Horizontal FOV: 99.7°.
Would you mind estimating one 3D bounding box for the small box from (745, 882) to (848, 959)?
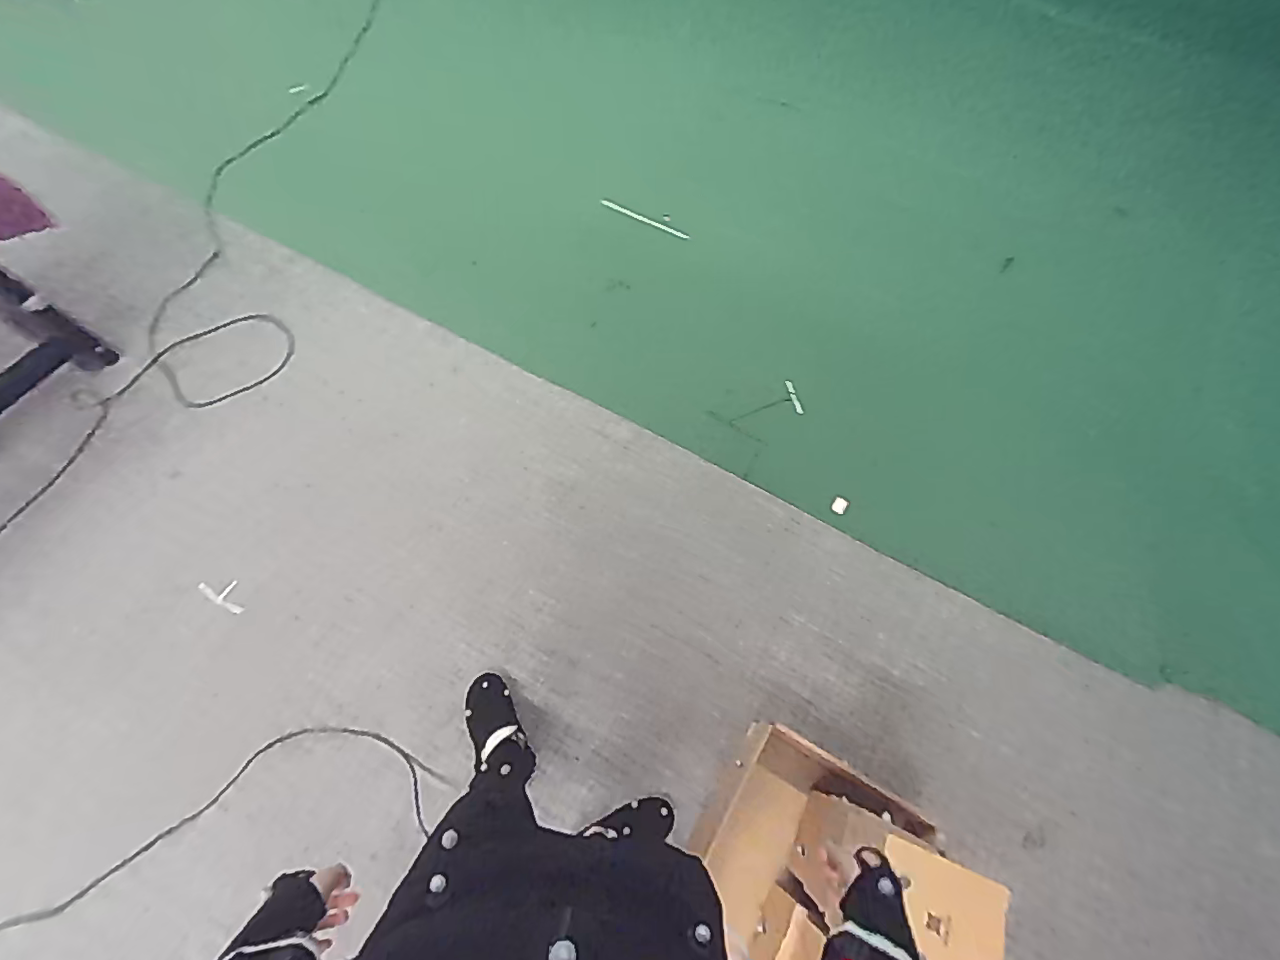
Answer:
[{"bbox_3d":[0.326,0.918,1.037,0.179,0.176,0.168,30,67,12],"label":"small box"}]

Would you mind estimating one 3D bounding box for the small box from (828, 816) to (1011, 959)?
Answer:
[{"bbox_3d":[0.404,0.630,0.808,0.179,0.176,0.168,22,69,9],"label":"small box"}]

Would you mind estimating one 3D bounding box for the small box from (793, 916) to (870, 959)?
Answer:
[{"bbox_3d":[0.341,0.865,0.881,0.168,0.176,0.179,26,66,10],"label":"small box"}]

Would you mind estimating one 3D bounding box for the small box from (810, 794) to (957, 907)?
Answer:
[{"bbox_3d":[0.420,0.692,0.958,0.168,0.176,0.179,26,69,11],"label":"small box"}]
